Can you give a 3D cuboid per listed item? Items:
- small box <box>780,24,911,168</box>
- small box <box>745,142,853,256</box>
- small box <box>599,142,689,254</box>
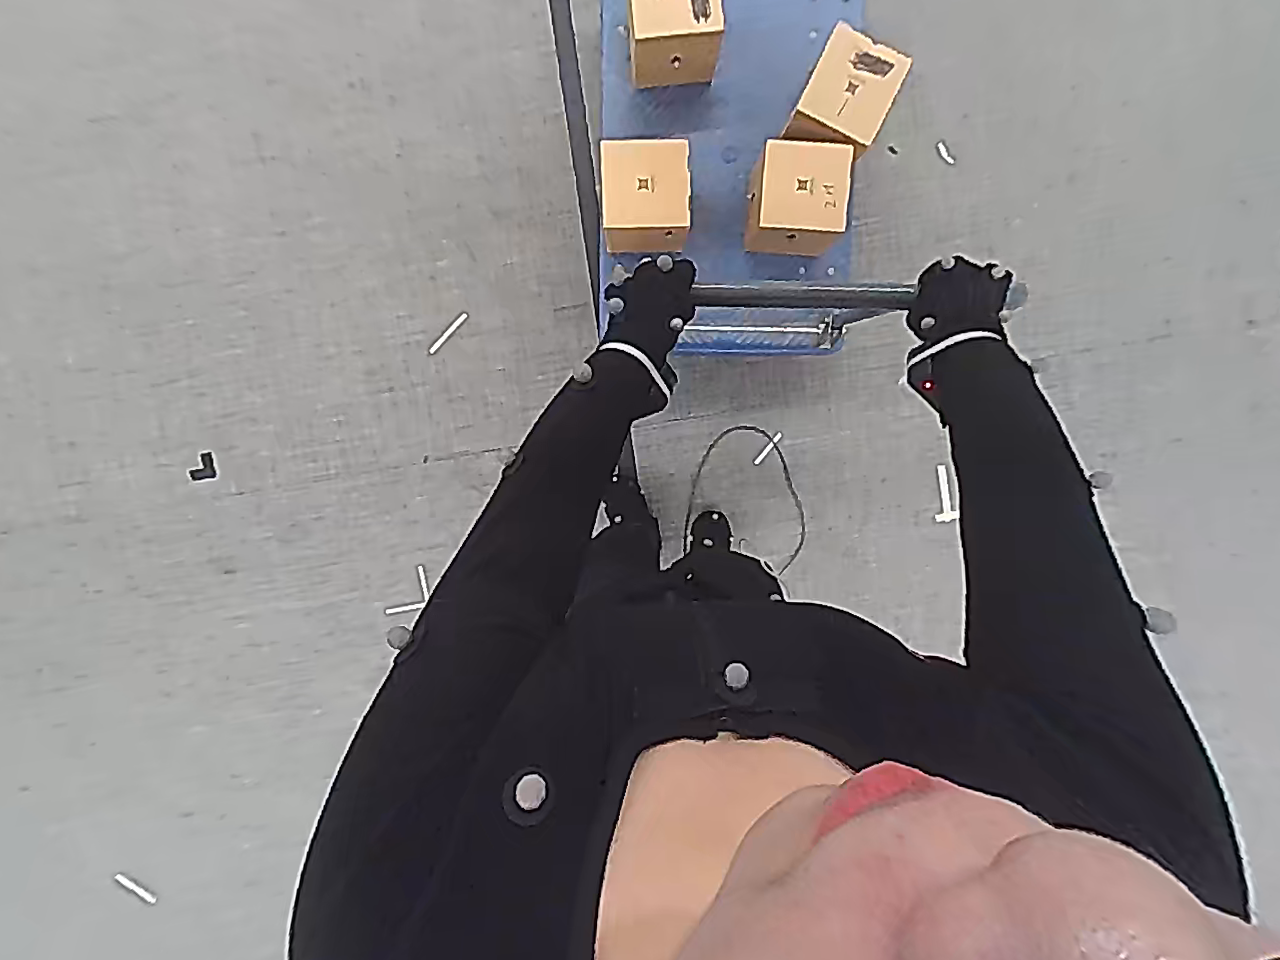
[{"bbox_3d":[0.412,-0.769,1.121,0.168,0.176,0.179,26,97,-3],"label":"small box"},{"bbox_3d":[0.325,-0.584,1.144,0.179,0.176,0.168,4,98,-1],"label":"small box"},{"bbox_3d":[0.008,-0.586,1.140,0.179,0.176,0.168,-2,97,-2],"label":"small box"}]
